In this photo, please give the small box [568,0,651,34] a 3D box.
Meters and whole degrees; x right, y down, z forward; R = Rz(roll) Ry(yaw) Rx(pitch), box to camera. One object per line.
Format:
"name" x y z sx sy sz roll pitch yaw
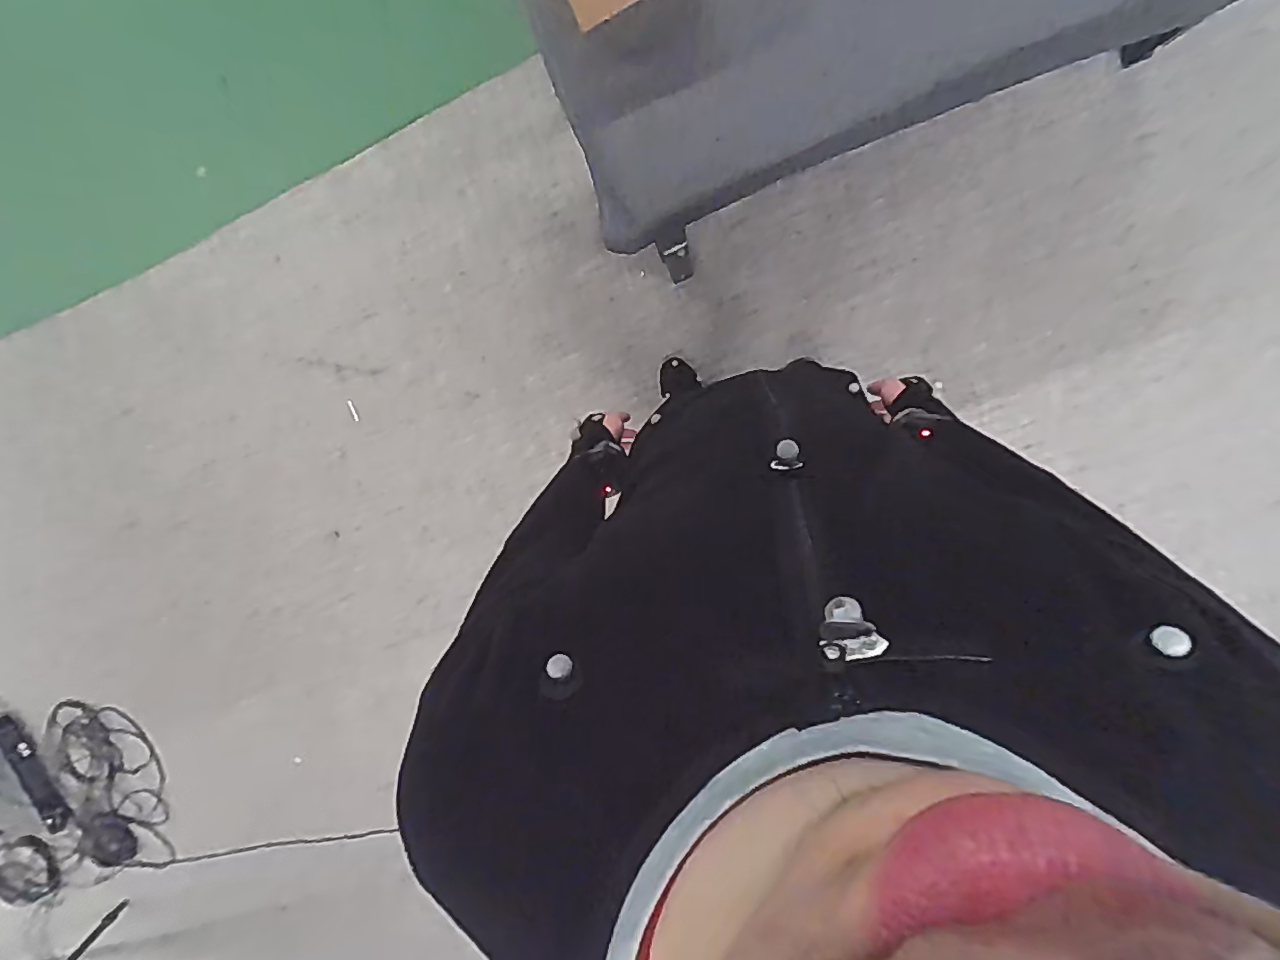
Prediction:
"small box" -0.035 -0.666 0.604 0.179 0.176 0.168 -22 99 11
